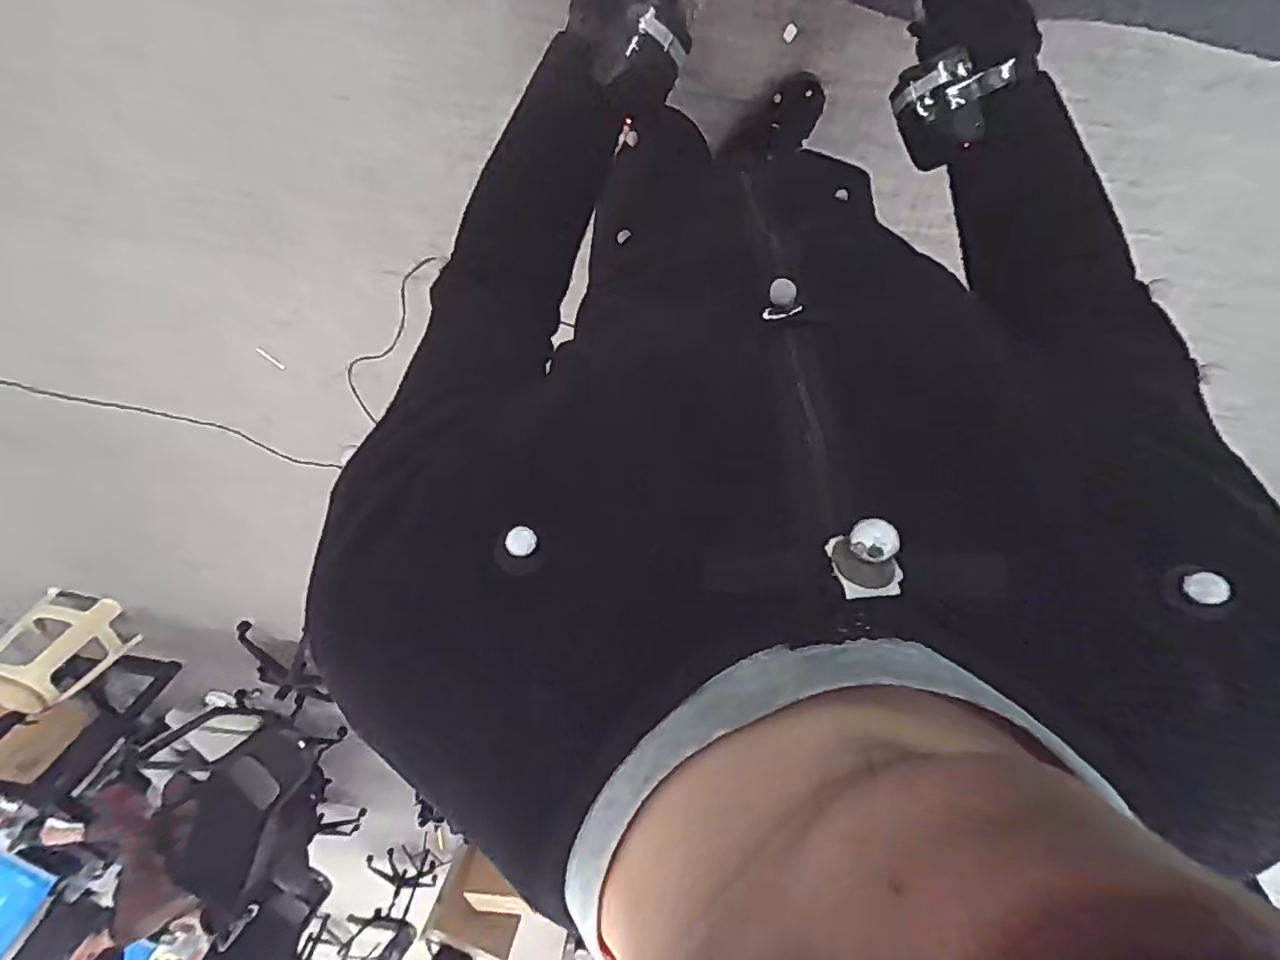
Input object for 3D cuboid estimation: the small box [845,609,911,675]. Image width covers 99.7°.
[{"bbox_3d":[0.901,0.617,2.068,0.168,0.176,0.179,7,127,2],"label":"small box"}]
